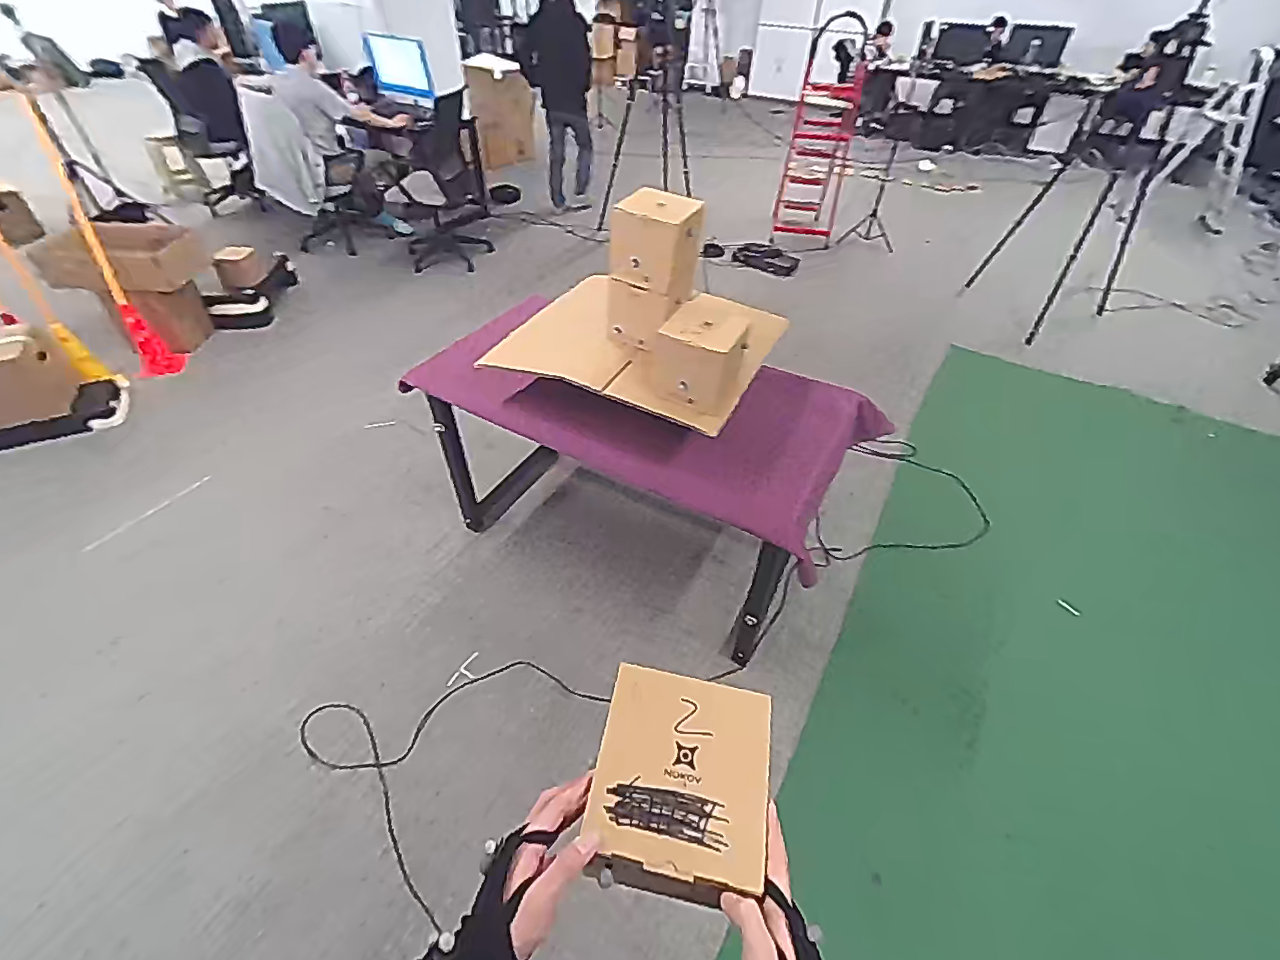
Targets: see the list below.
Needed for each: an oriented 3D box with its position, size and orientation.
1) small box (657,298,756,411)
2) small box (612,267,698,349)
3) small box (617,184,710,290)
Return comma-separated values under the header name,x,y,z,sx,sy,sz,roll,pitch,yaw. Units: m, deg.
name,x,y,z,sx,sy,sz,roll,pitch,yaw
small box,0.149,-0.292,1.259,0.168,0.176,0.179,23,48,17
small box,0.036,-0.469,1.421,0.168,0.176,0.179,23,48,15
small box,0.050,-0.587,1.310,0.168,0.176,0.179,23,49,15
